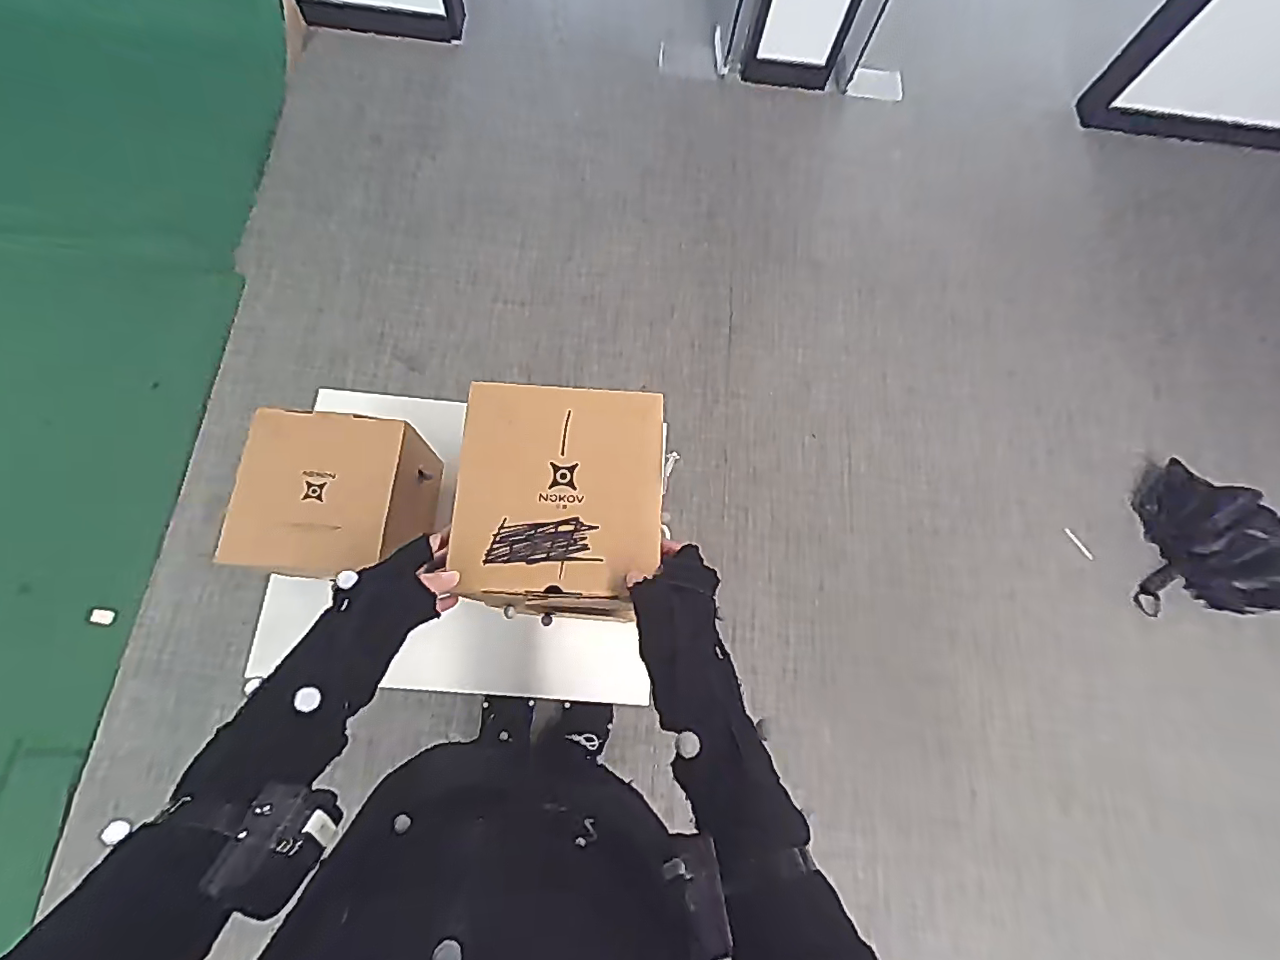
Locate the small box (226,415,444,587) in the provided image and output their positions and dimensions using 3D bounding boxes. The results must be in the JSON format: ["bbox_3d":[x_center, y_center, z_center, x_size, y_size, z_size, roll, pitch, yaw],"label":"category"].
[{"bbox_3d":[-0.353,0.035,0.666,0.168,0.176,0.179,3,76,-3],"label":"small box"}]

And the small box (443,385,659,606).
[{"bbox_3d":[-0.072,0.027,0.514,0.168,0.176,0.179,2,74,-3],"label":"small box"}]

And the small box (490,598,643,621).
[{"bbox_3d":[-0.078,0.077,0.672,0.168,0.176,0.179,5,74,-2],"label":"small box"}]
